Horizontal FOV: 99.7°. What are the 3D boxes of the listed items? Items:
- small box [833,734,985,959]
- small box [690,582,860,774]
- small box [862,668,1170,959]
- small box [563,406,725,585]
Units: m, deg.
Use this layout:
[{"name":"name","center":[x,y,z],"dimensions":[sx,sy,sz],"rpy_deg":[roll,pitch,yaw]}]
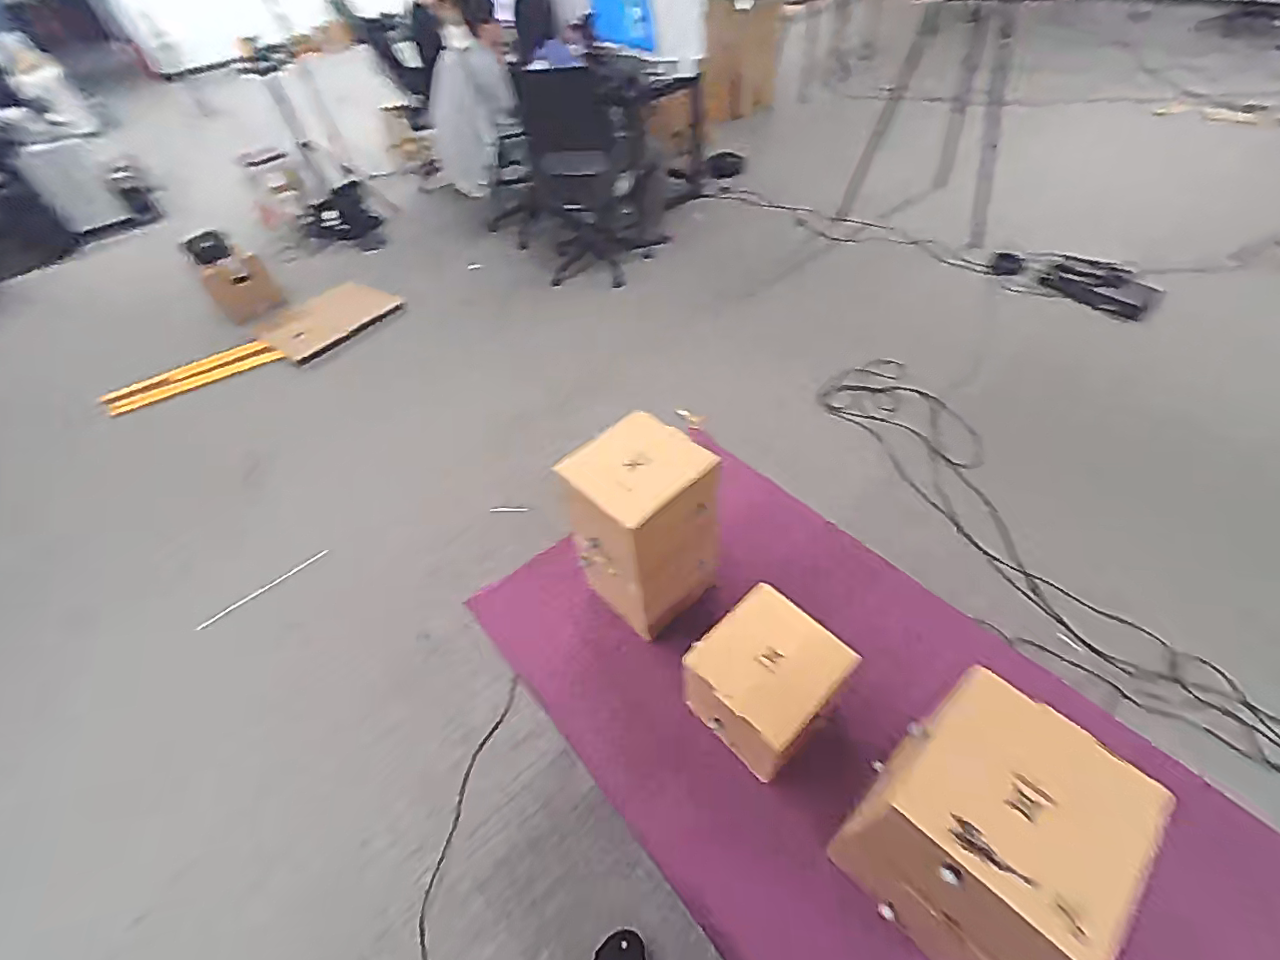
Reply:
[{"name":"small box","center":[0.359,0.436,0.655],"dimensions":[0.179,0.176,0.168],"rpy_deg":[-37,55,-23]},{"name":"small box","center":[0.189,0.293,0.800],"dimensions":[0.179,0.176,0.168],"rpy_deg":[-37,55,-22]},{"name":"small box","center":[0.346,0.329,0.531],"dimensions":[0.179,0.176,0.168],"rpy_deg":[-37,55,-24]},{"name":"small box","center":[0.009,0.024,0.831],"dimensions":[0.179,0.176,0.168],"rpy_deg":[-37,55,-23]}]
